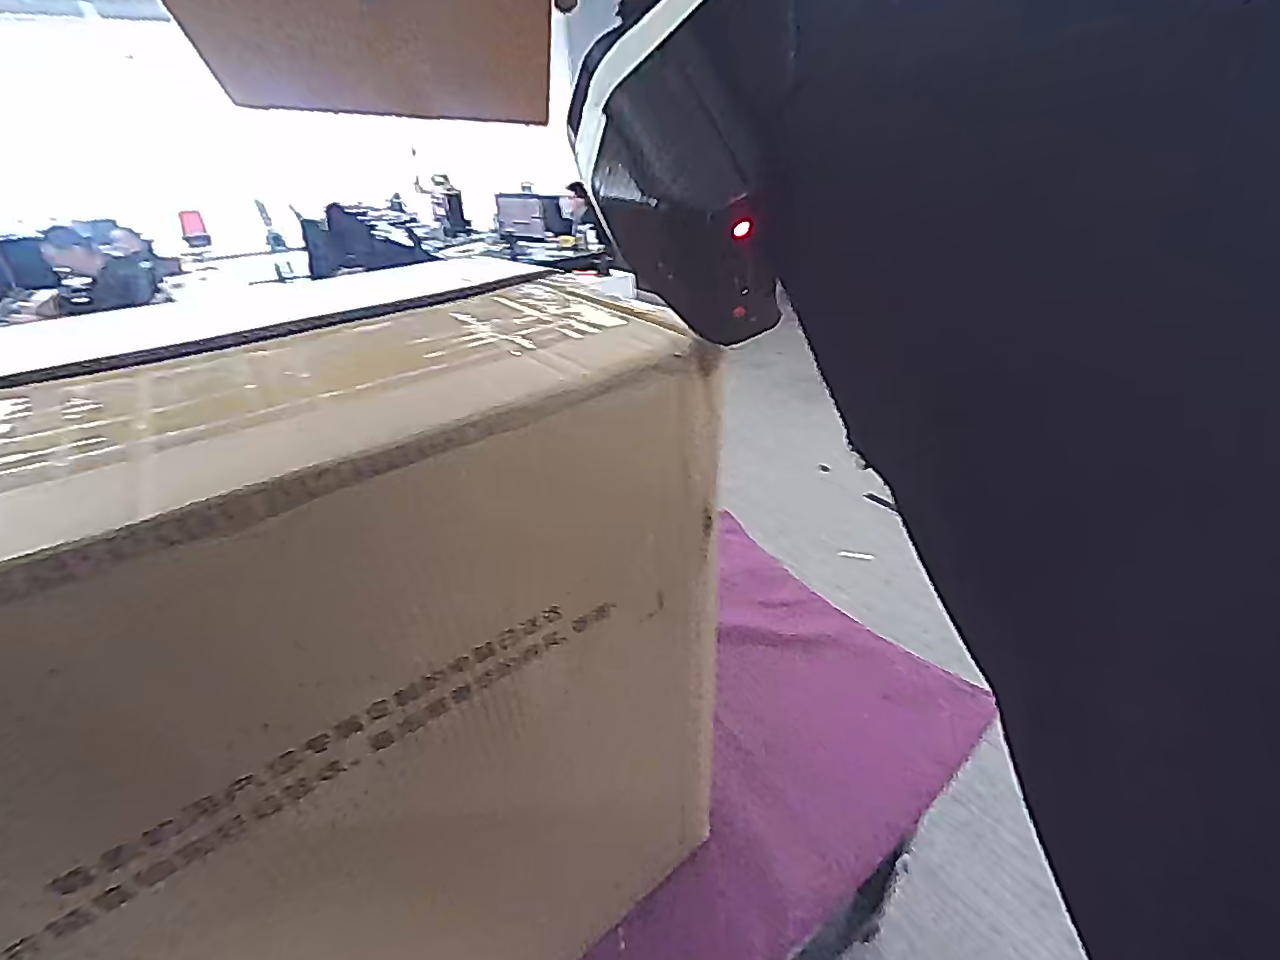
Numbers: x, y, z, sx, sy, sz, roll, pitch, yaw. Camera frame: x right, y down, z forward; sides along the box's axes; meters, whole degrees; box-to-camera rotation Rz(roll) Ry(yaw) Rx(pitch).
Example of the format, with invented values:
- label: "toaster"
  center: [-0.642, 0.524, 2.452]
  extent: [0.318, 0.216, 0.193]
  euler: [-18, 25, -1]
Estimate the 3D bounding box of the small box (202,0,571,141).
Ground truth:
- label: "small box"
  center: [-0.118, -0.291, 0.238]
  extent: [0.168, 0.179, 0.176]
  euler: [-4, -5, -11]
